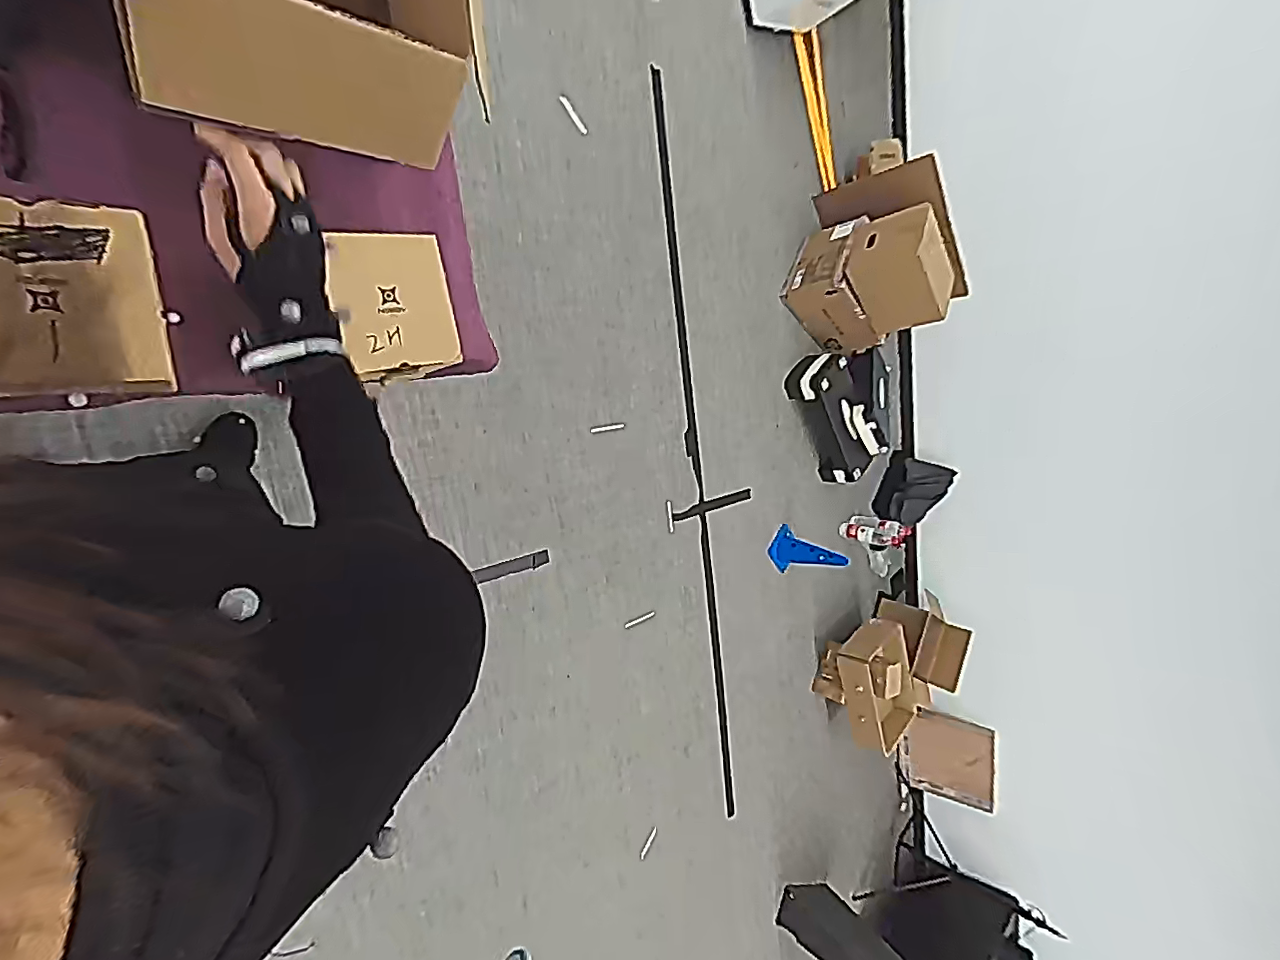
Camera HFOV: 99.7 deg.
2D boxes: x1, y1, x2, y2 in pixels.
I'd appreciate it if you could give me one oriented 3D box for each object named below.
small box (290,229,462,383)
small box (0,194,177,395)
[{"bbox_3d":[-0.382,-0.242,0.777,0.168,0.176,0.179,-18,105,-36],"label":"small box"},{"bbox_3d":[-0.623,-0.187,0.585,0.168,0.176,0.179,-10,101,-38],"label":"small box"}]
